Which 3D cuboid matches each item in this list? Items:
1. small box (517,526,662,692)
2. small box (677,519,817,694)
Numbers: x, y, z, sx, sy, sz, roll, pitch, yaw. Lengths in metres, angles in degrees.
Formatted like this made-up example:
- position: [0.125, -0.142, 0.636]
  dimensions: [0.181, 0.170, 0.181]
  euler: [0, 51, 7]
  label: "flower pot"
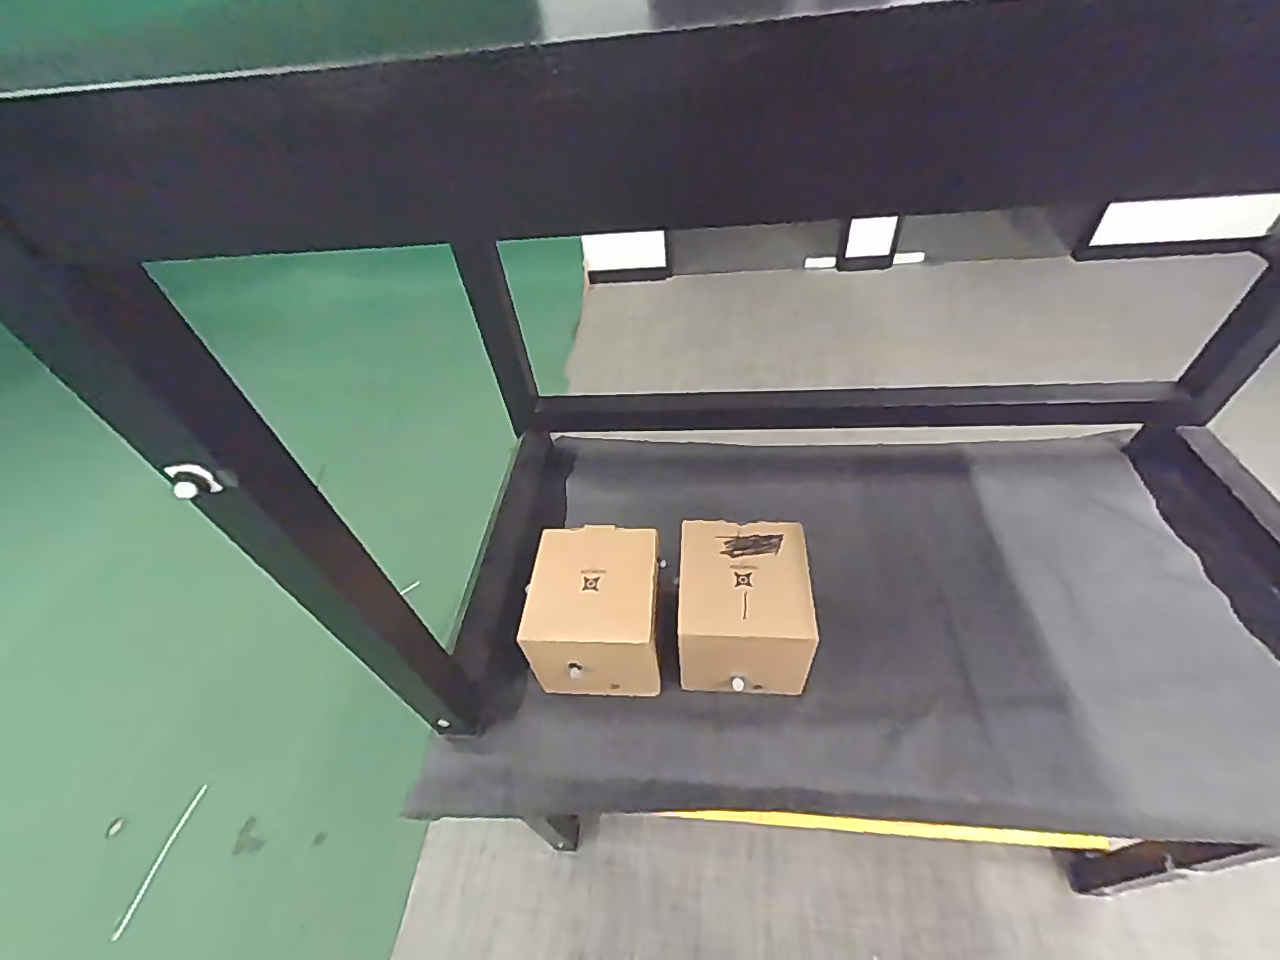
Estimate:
- position: [-0.057, 0.183, 0.763]
  dimensions: [0.168, 0.176, 0.179]
  euler: [0, 46, 6]
  label: "small box"
- position: [0.139, 0.173, 0.747]
  dimensions: [0.168, 0.176, 0.179]
  euler: [0, 47, 8]
  label: "small box"
